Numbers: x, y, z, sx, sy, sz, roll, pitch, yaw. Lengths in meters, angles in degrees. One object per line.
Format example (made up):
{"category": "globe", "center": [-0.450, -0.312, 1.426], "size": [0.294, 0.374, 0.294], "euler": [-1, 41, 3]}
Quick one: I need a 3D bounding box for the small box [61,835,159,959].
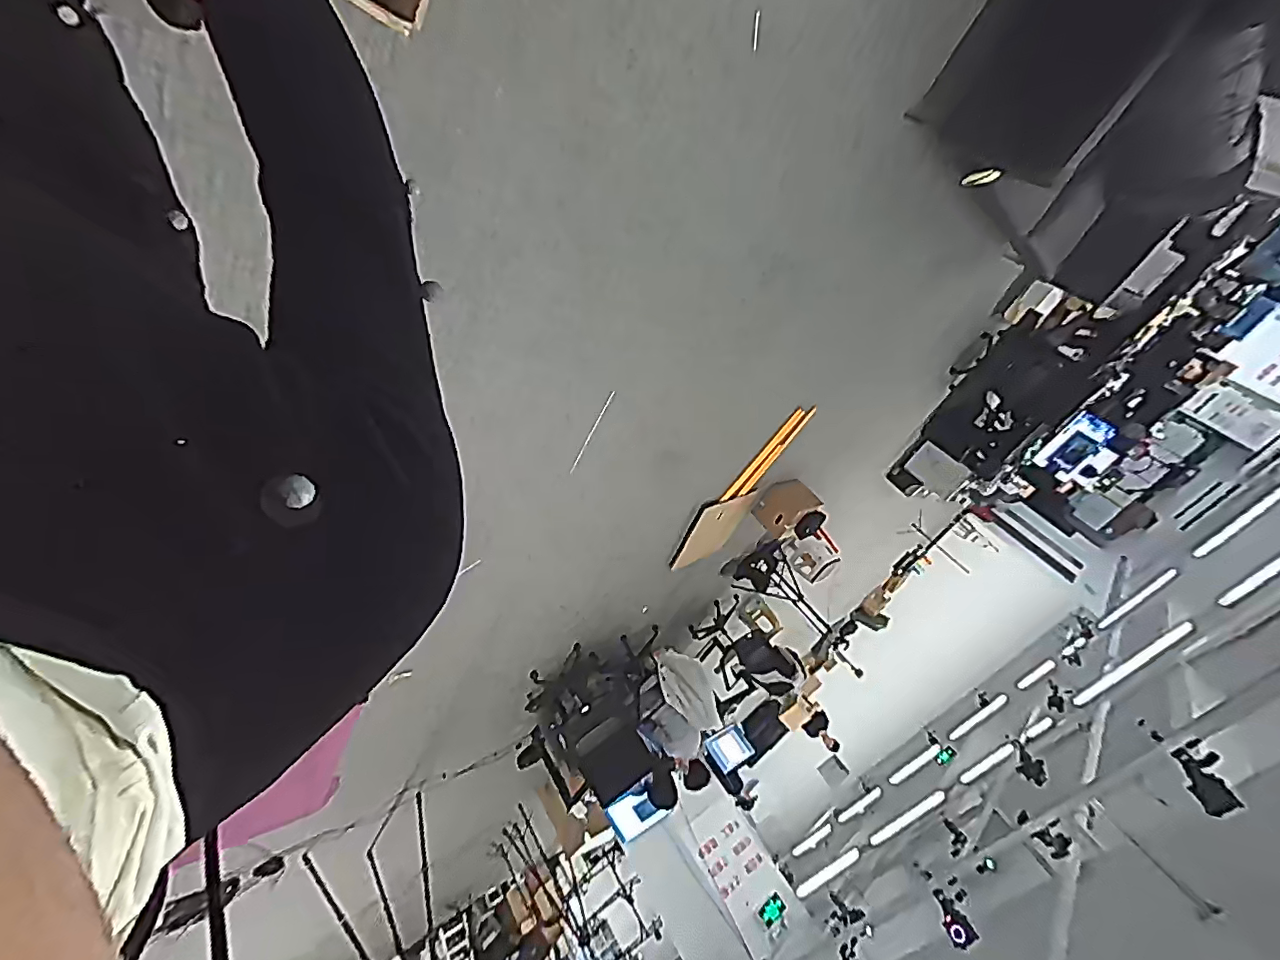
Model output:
{"category": "small box", "center": [-1.350, 1.048, 1.375], "size": [0.168, 0.176, 0.179], "euler": [-2, 133, -47]}
